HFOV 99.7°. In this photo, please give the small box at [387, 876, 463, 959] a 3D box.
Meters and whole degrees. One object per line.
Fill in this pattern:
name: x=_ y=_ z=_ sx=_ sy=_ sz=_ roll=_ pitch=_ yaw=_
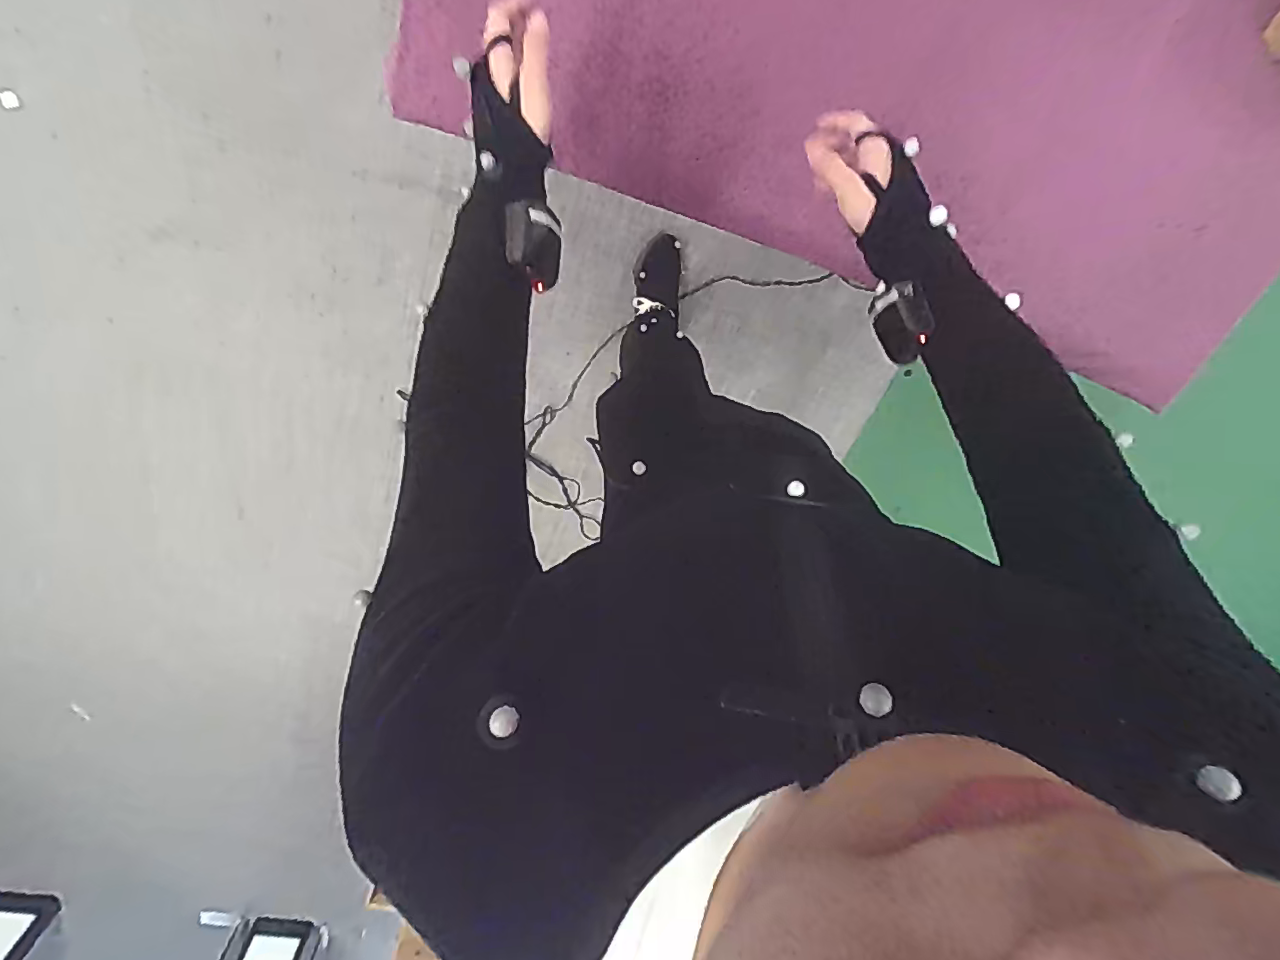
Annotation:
small box: x=-0.671 y=1.392 z=1.701 sx=0.168 sy=0.176 sz=0.179 roll=19 pitch=114 yaw=-13
